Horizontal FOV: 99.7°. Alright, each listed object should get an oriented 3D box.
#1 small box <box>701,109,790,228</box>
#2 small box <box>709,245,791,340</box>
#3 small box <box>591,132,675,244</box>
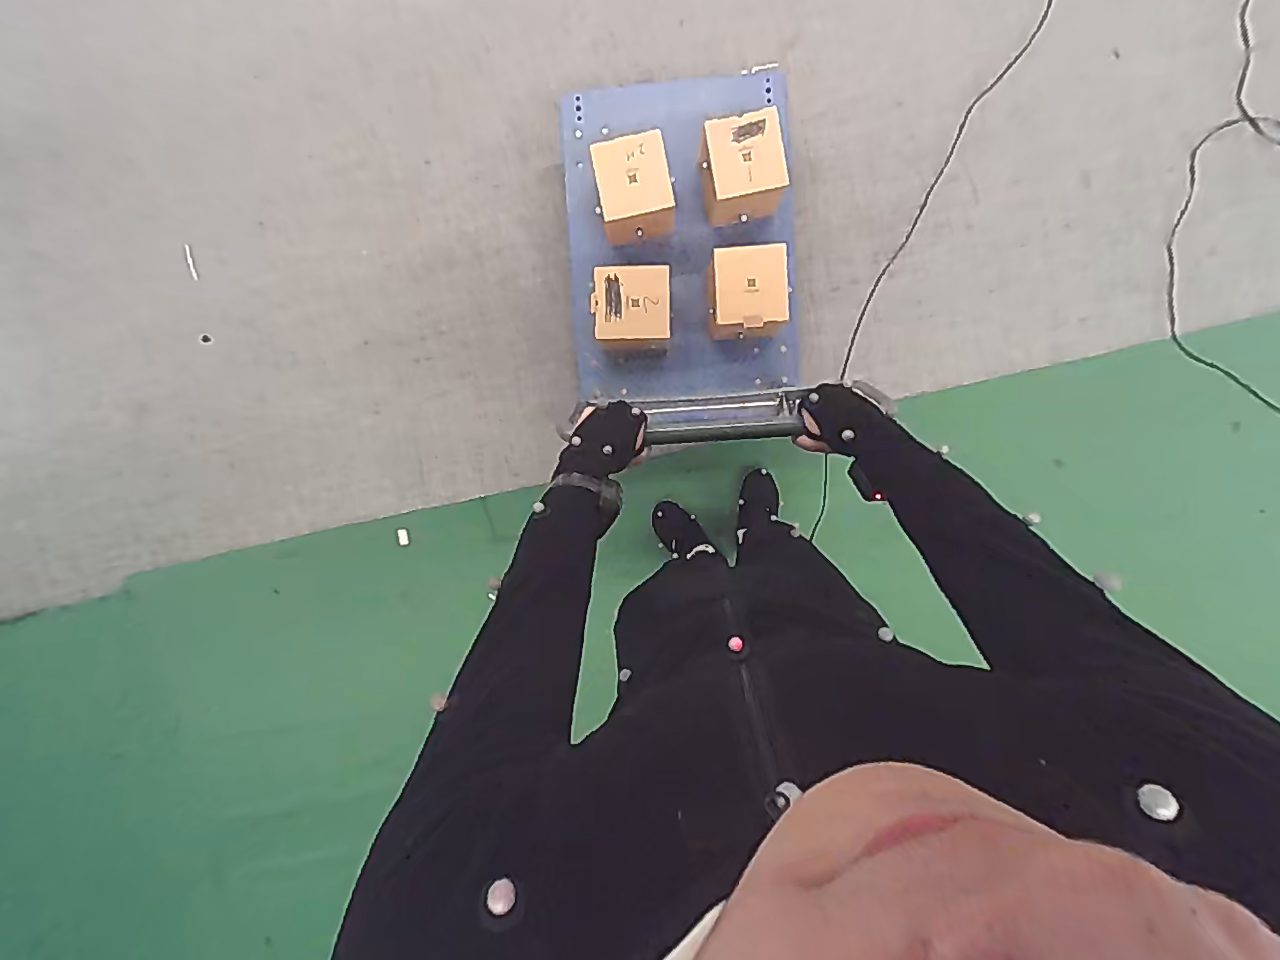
[{"bbox_3d":[0.244,-0.731,1.287,0.168,0.176,0.179,-11,94,3],"label":"small box"},{"bbox_3d":[0.260,-0.446,1.307,0.168,0.176,0.179,-4,95,2],"label":"small box"},{"bbox_3d":[-0.012,-0.687,1.298,0.168,0.176,0.179,-11,93,2],"label":"small box"}]
